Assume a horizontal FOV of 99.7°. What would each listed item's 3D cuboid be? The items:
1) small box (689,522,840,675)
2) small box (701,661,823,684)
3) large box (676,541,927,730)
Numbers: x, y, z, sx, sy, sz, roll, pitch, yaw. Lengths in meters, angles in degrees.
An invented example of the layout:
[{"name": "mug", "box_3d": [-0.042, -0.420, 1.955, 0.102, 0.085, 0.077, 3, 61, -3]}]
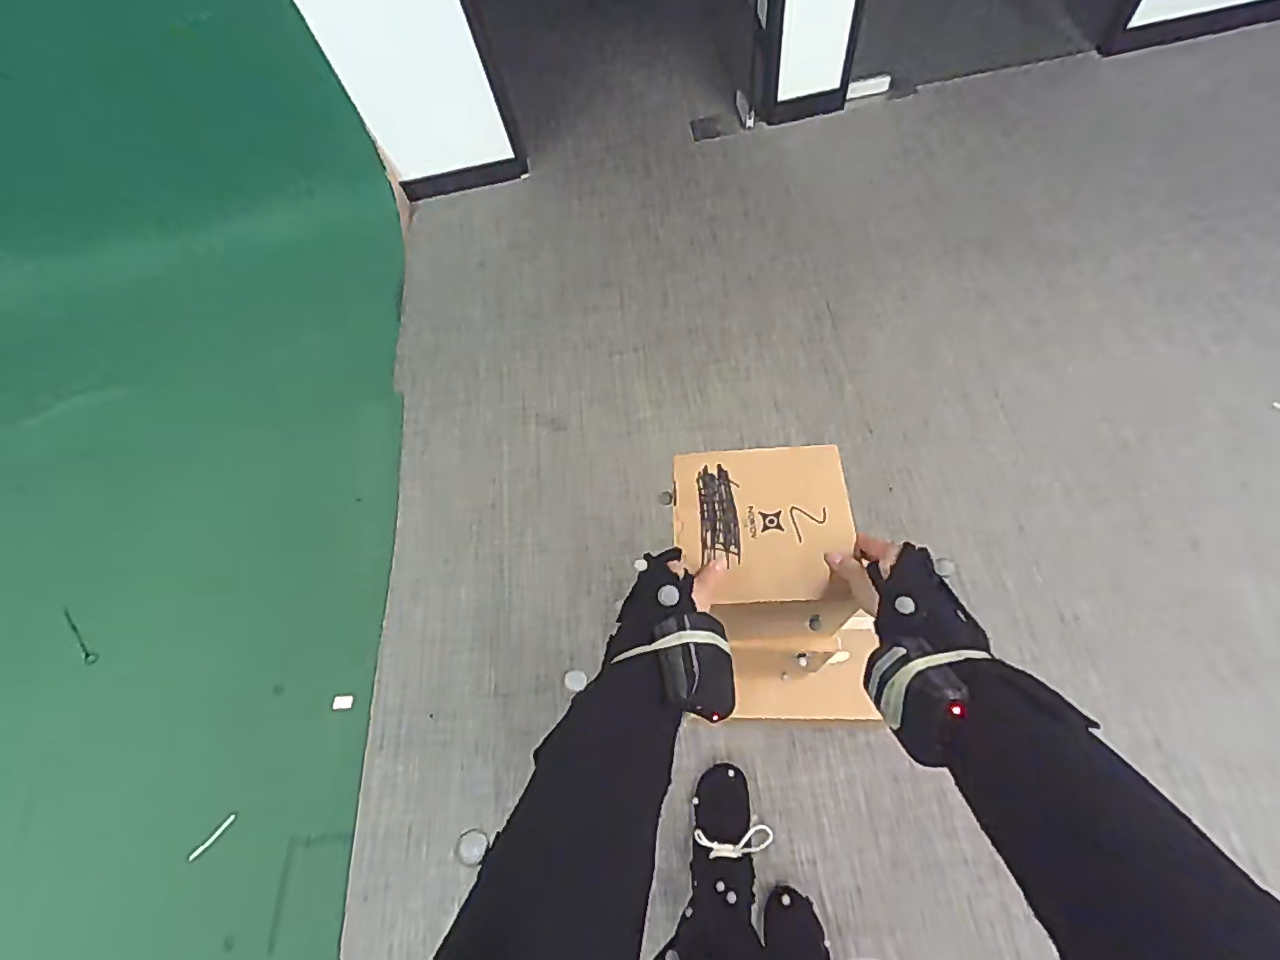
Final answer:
[{"name": "small box", "box_3d": [0.159, 0.167, 0.738, 0.179, 0.176, 0.168, 0, 61, 7]}, {"name": "small box", "box_3d": [0.186, 0.235, 0.883, 0.179, 0.176, 0.168, -3, 61, 8]}, {"name": "large box", "box_3d": [0.285, 0.328, 1.093, 0.408, 0.320, 0.320, -3, 64, 6]}]
